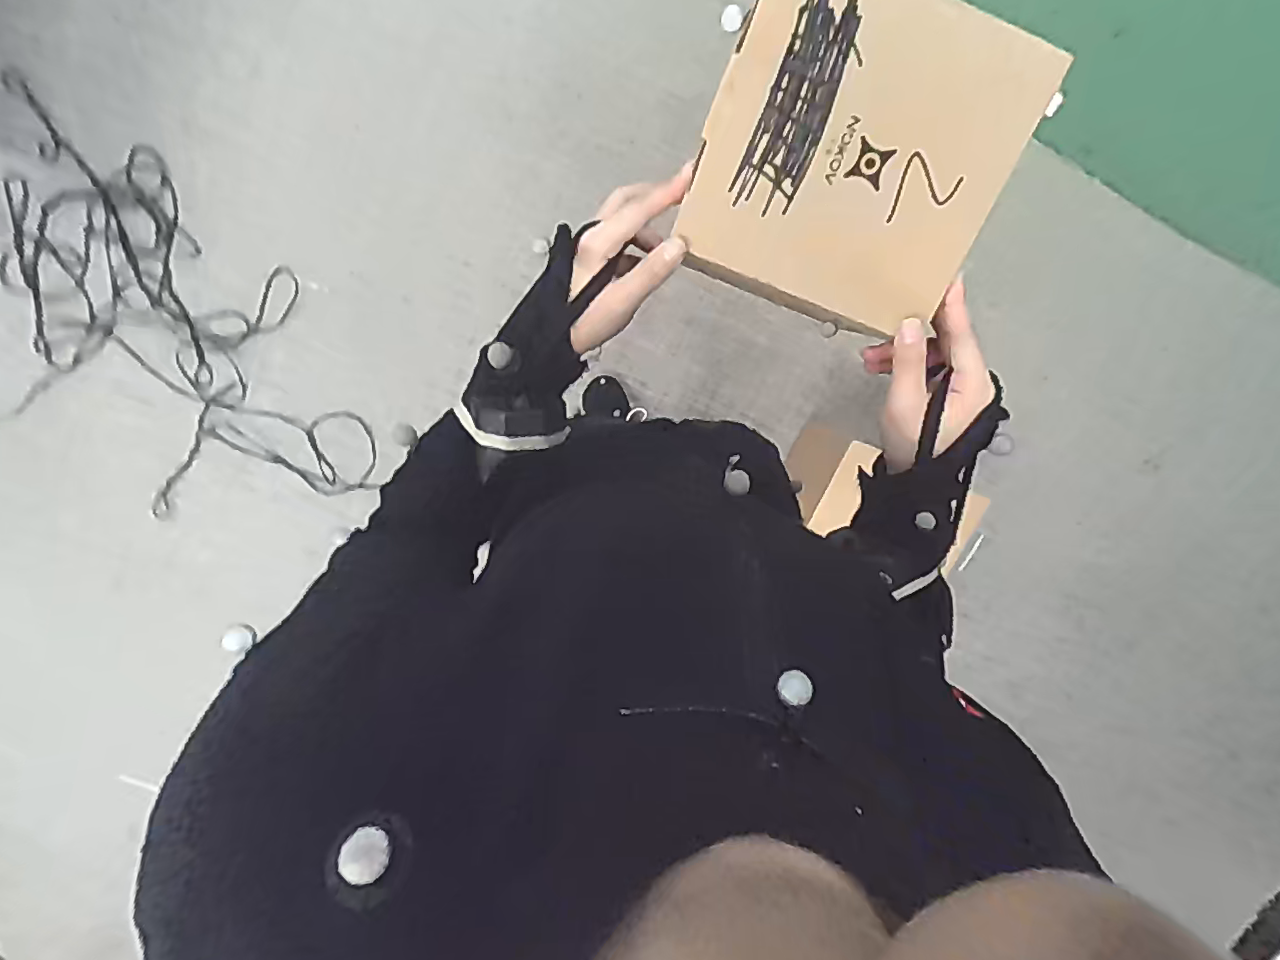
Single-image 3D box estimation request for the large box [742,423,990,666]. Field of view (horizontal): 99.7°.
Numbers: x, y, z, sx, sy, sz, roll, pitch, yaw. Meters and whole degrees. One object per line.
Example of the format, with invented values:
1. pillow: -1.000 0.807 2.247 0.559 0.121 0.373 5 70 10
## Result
1. large box: 0.474 0.124 1.229 0.320 0.320 0.408 23 102 -4
